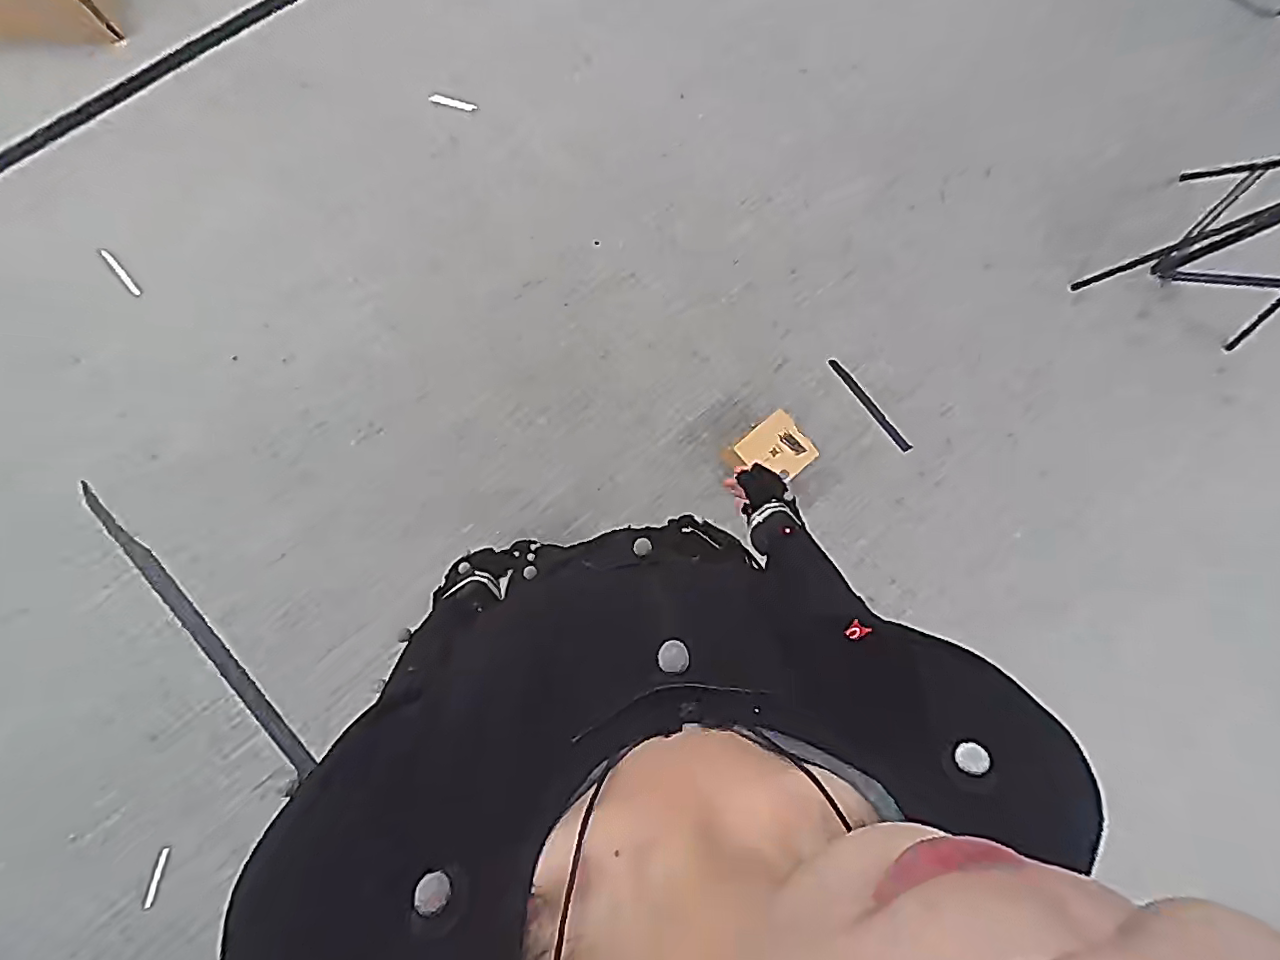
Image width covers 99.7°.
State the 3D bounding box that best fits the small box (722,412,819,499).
[{"bbox_3d":[0.355,-0.063,1.509,0.179,0.176,0.168,-40,89,-7],"label":"small box"}]
